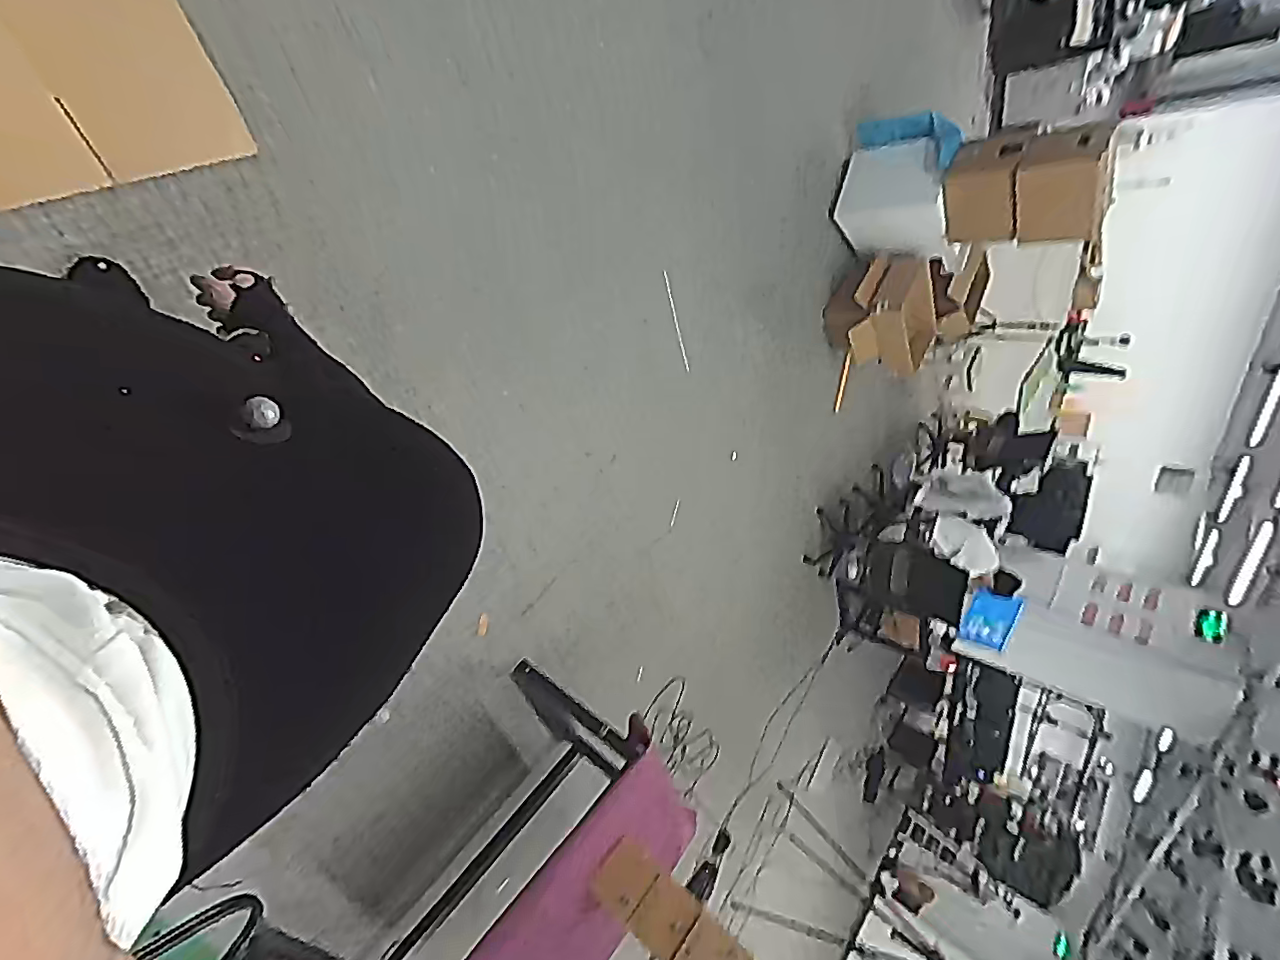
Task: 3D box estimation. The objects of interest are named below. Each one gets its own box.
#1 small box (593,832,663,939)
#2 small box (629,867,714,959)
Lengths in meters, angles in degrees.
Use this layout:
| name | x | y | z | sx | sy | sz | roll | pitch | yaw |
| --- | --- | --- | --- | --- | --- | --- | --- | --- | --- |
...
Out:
| name | x | y | z | sx | sy | sz | roll | pitch | yaw |
| --- | --- | --- | --- | --- | --- | --- | --- | --- | --- |
| small box | -0.027 | 1.255 | 1.681 | 0.179 | 0.176 | 0.168 | -39 | 129 | -30 |
| small box | 0.086 | 1.289 | 1.570 | 0.179 | 0.176 | 0.168 | -40 | 128 | -30 |
